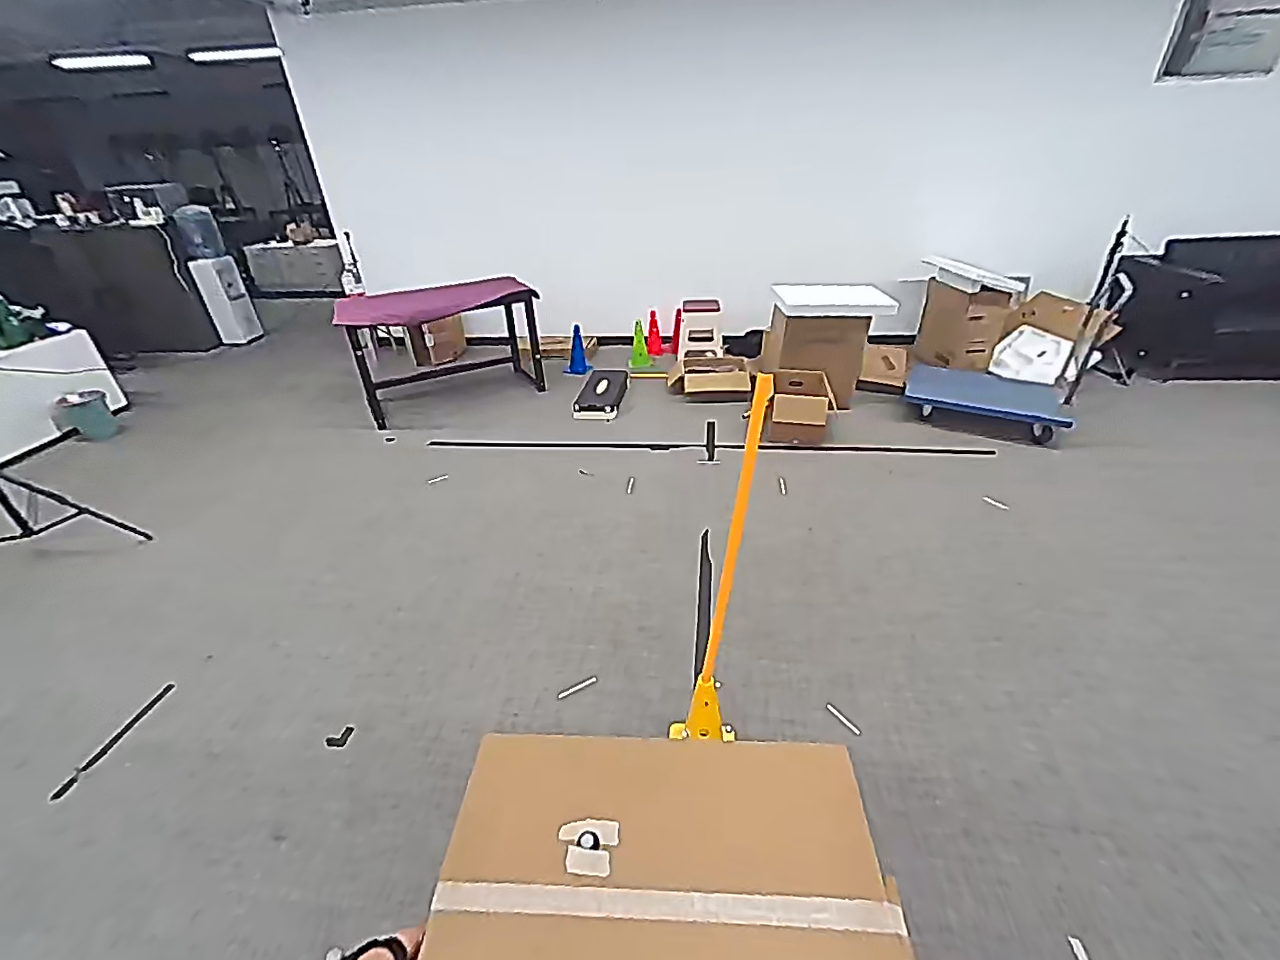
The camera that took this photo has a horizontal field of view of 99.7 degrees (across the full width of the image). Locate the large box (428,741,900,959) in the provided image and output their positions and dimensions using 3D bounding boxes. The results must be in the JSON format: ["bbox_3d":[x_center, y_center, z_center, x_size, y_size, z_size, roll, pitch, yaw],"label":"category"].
[{"bbox_3d":[0.030,0.505,0.568,0.408,0.320,0.320,-2,33,5],"label":"large box"}]
